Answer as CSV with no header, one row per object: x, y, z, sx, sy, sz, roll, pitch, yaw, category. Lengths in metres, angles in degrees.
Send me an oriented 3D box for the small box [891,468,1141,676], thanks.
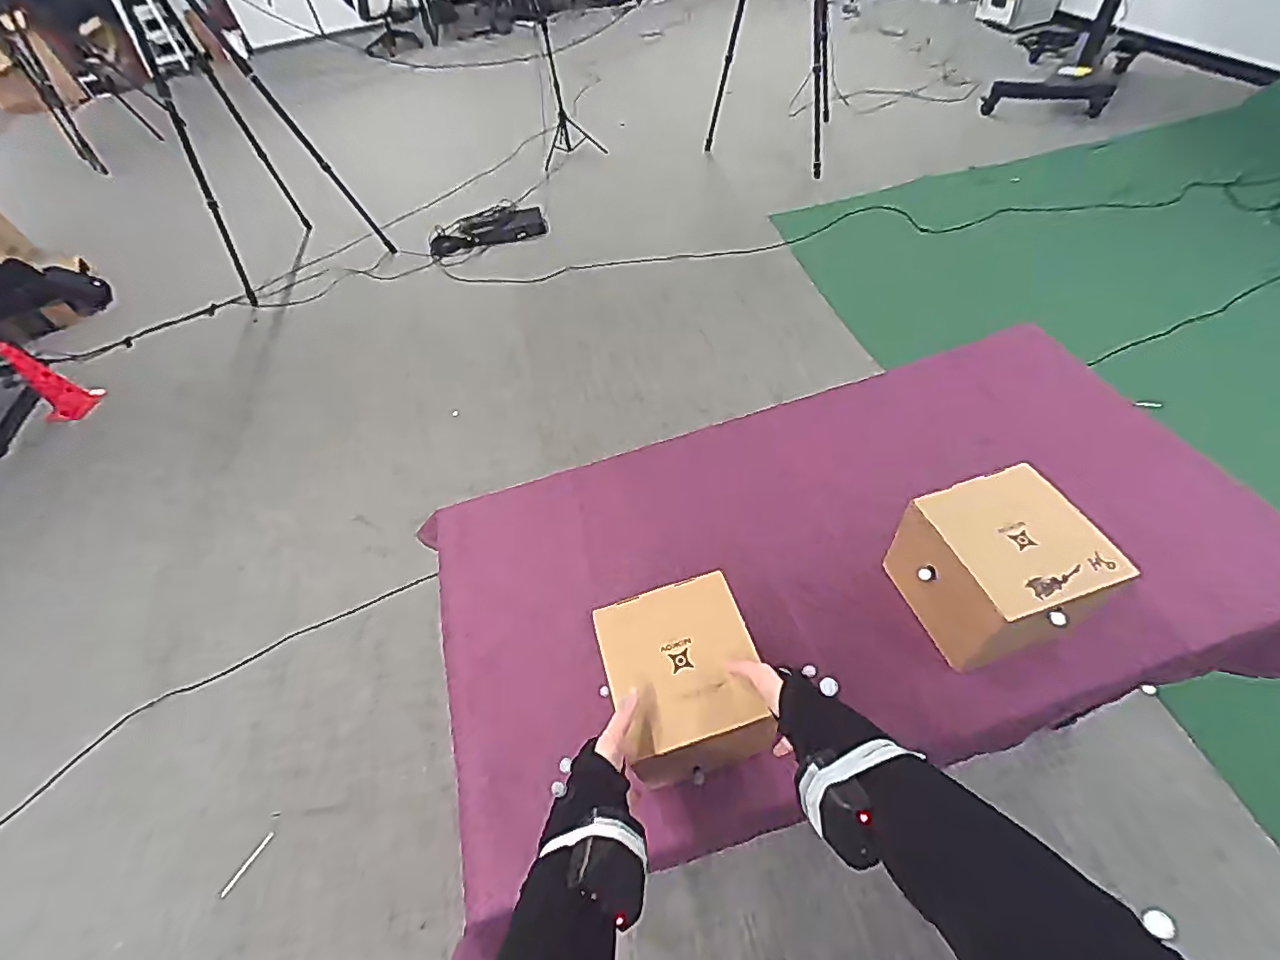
0.454,0.120,0.693,0.168,0.176,0.179,-18,50,-4,small box

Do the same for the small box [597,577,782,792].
0.056,0.251,0.658,0.168,0.176,0.179,-17,52,-4,small box
